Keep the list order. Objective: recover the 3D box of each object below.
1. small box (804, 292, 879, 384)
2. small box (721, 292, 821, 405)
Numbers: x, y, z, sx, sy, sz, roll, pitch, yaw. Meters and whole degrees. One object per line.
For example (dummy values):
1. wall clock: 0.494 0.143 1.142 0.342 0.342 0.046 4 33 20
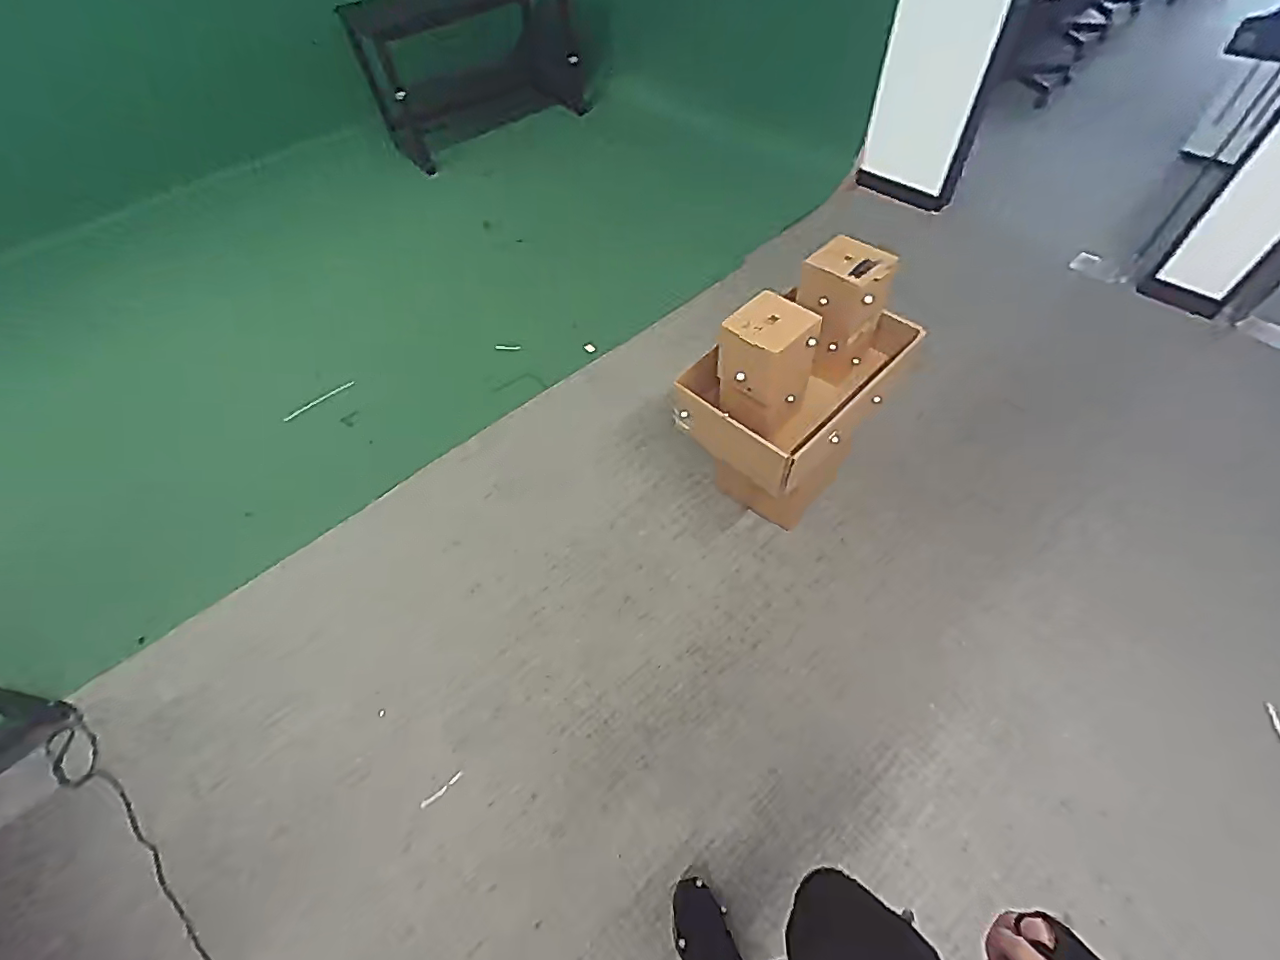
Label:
1. small box: 0.551 -0.408 1.568 0.179 0.176 0.168 35 64 25
2. small box: 0.310 -0.320 1.321 0.179 0.176 0.168 -40 60 -21
